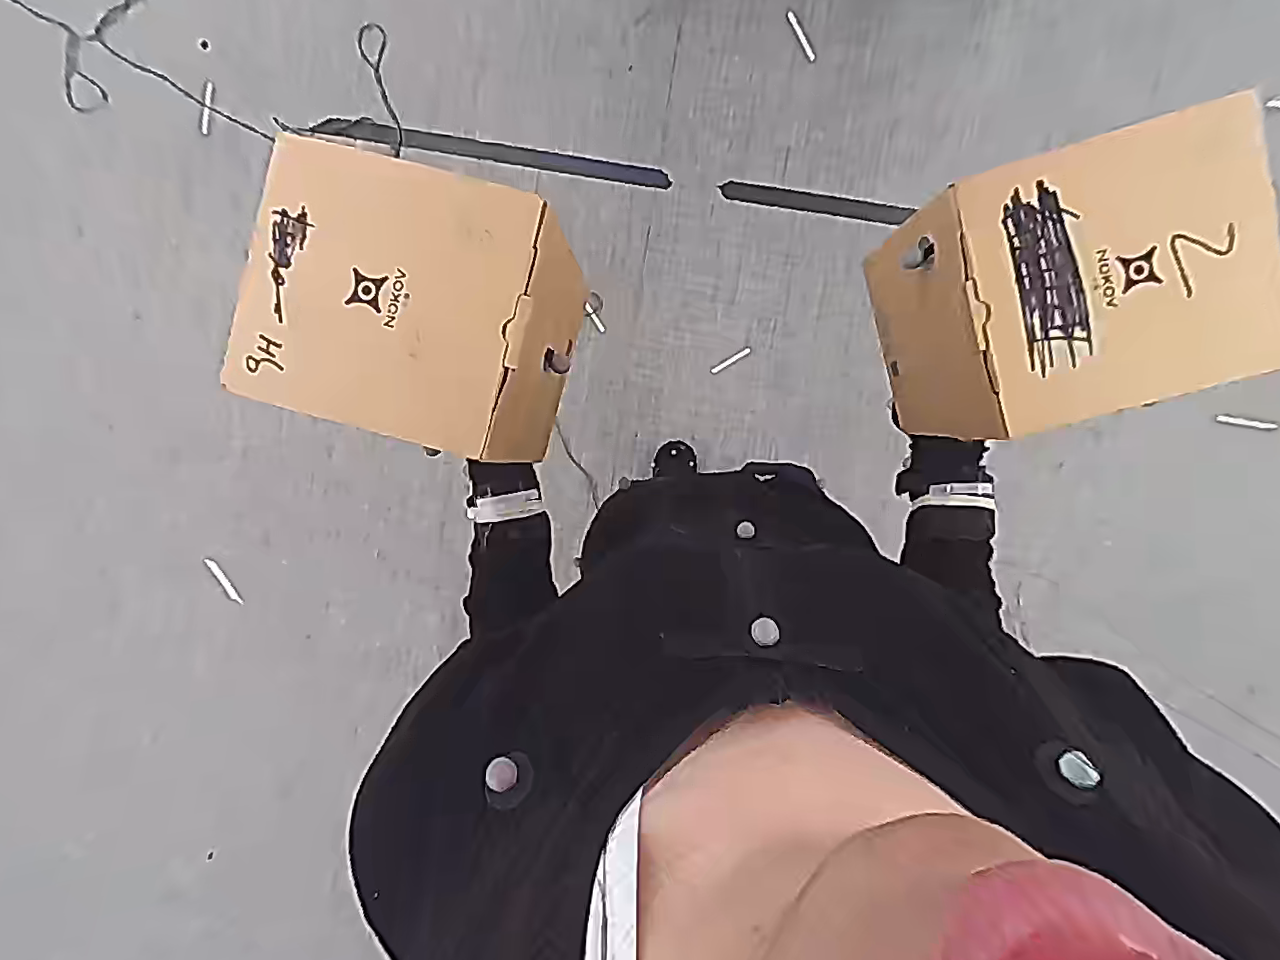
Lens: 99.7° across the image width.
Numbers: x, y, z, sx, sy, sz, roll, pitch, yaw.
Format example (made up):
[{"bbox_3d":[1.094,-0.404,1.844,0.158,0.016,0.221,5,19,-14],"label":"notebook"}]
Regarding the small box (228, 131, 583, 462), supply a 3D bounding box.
[{"bbox_3d":[-0.151,-0.116,0.412,0.179,0.176,0.168,15,92,1],"label":"small box"}]
